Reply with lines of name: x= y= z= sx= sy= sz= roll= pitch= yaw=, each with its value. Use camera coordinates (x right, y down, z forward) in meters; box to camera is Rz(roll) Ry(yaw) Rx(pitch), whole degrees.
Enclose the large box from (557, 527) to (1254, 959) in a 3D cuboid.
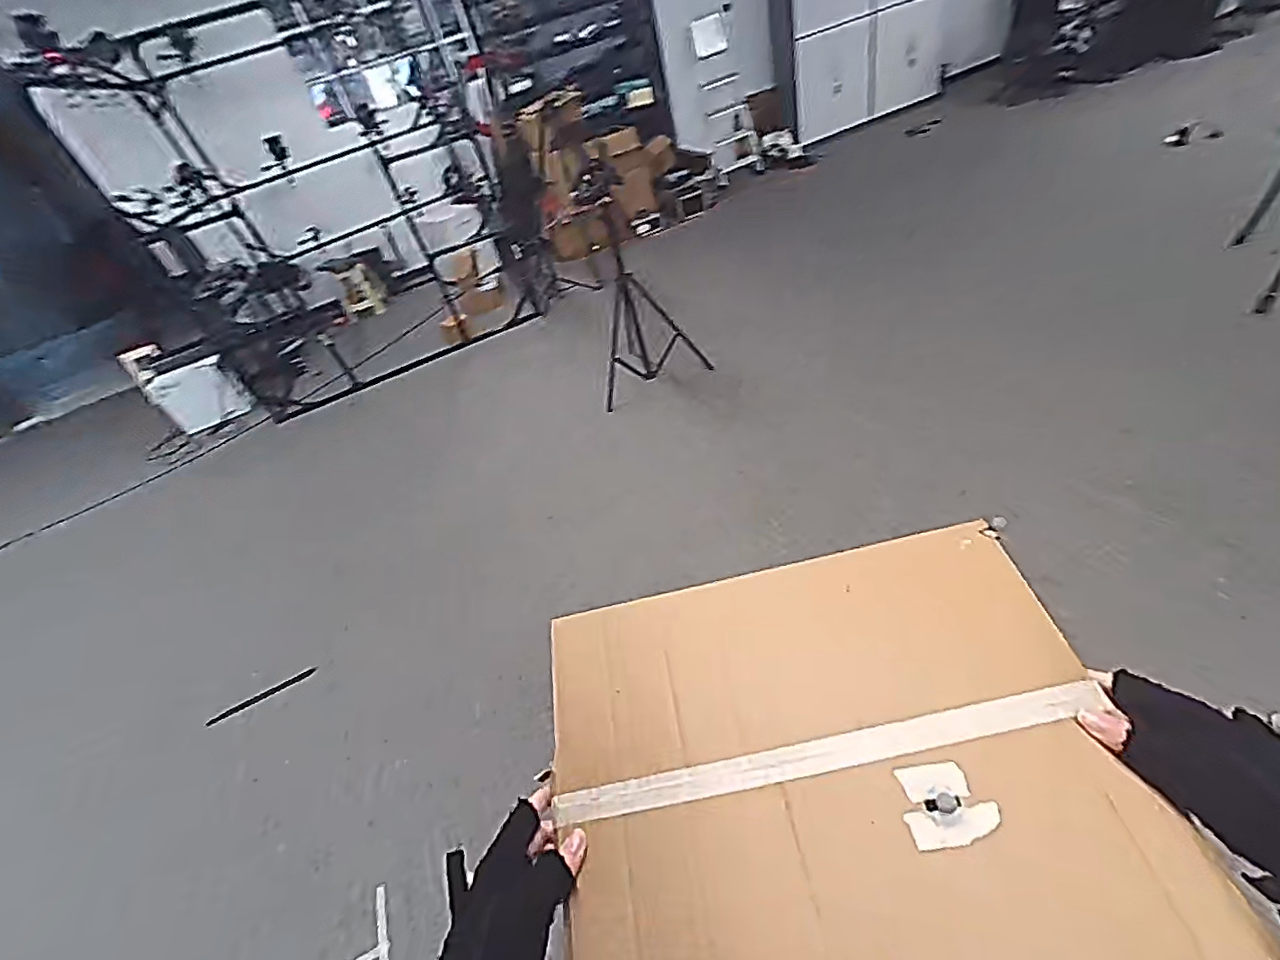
large box: x=0.165 y=0.299 z=0.525 sx=0.408 sy=0.320 sz=0.320 roll=-15 pitch=51 yaw=3
